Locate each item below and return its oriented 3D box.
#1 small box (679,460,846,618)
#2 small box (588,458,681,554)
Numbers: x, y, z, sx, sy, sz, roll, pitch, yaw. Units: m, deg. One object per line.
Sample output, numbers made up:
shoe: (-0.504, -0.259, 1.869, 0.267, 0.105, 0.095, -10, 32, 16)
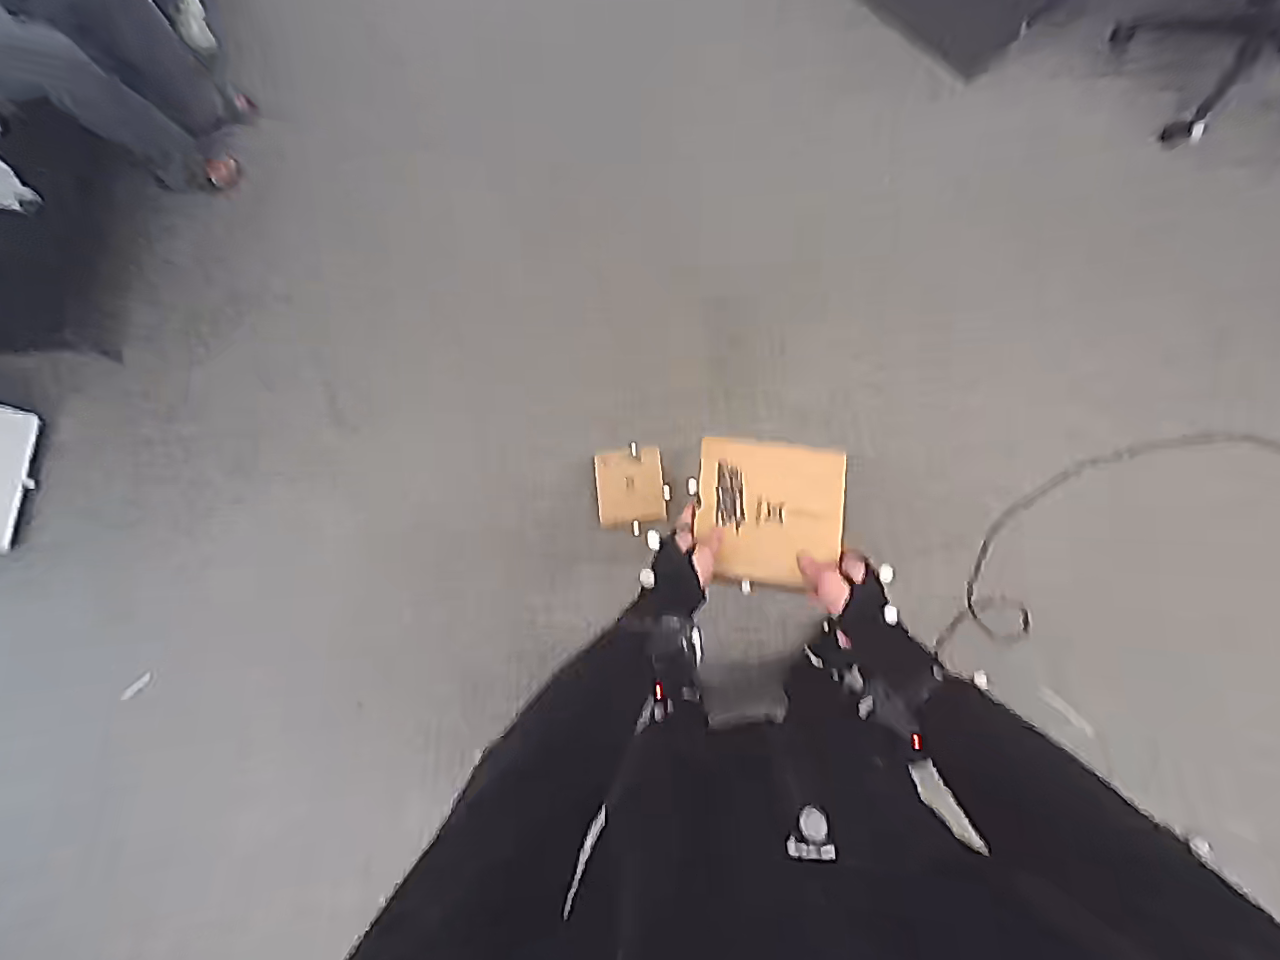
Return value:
small box: (0.159, 0.086, 0.724, 0.179, 0.176, 0.168, 10, 77, 11)
small box: (-0.007, 0.076, 1.415, 0.179, 0.176, 0.168, -36, 73, -3)
